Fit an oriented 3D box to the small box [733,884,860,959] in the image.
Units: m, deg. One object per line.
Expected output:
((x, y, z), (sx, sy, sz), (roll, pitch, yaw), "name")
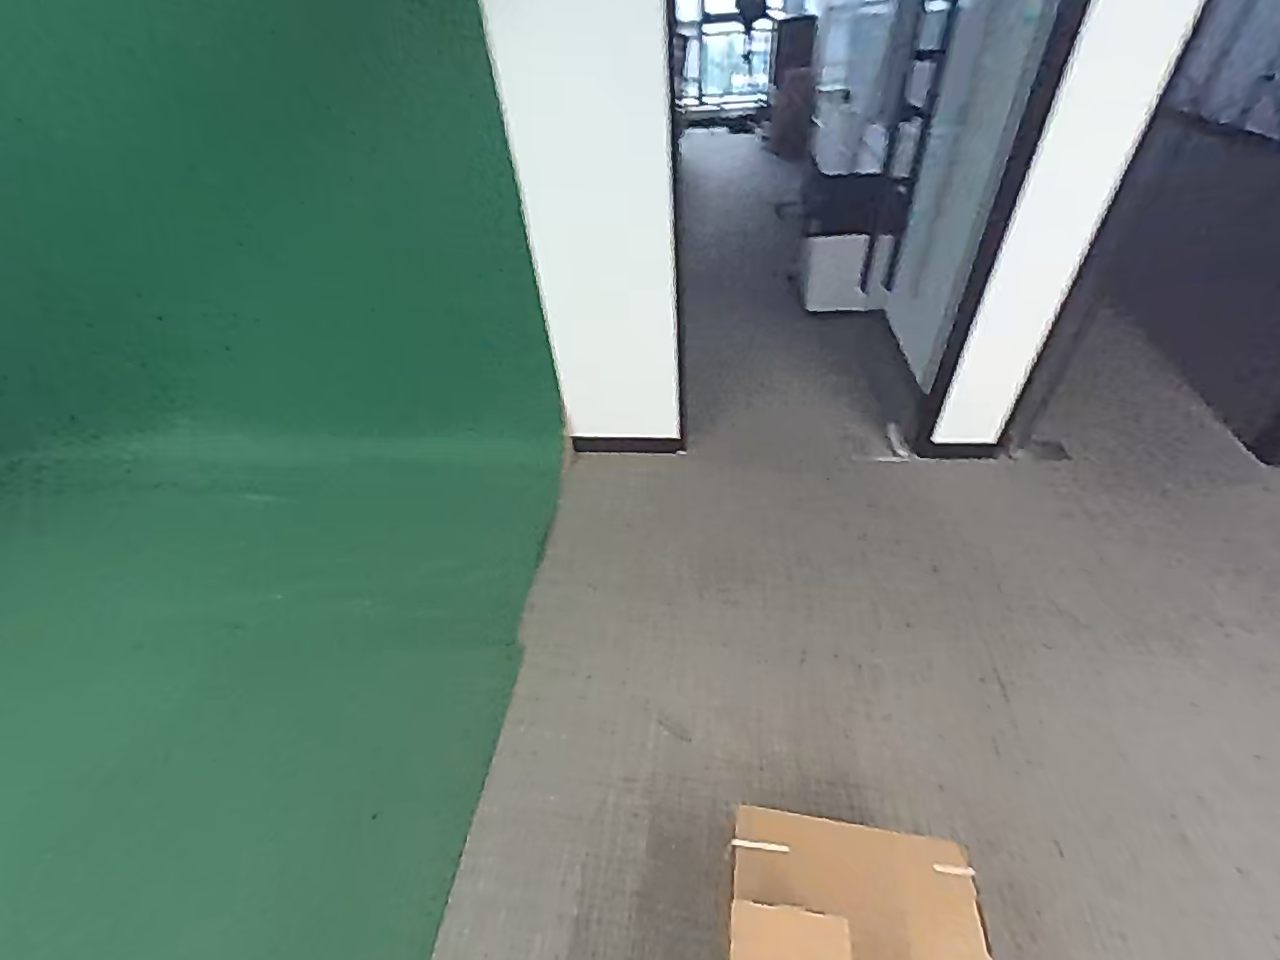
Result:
((0.219, 0.720, 0.776), (0.168, 0.176, 0.179), (2, 41, 10), "small box")
